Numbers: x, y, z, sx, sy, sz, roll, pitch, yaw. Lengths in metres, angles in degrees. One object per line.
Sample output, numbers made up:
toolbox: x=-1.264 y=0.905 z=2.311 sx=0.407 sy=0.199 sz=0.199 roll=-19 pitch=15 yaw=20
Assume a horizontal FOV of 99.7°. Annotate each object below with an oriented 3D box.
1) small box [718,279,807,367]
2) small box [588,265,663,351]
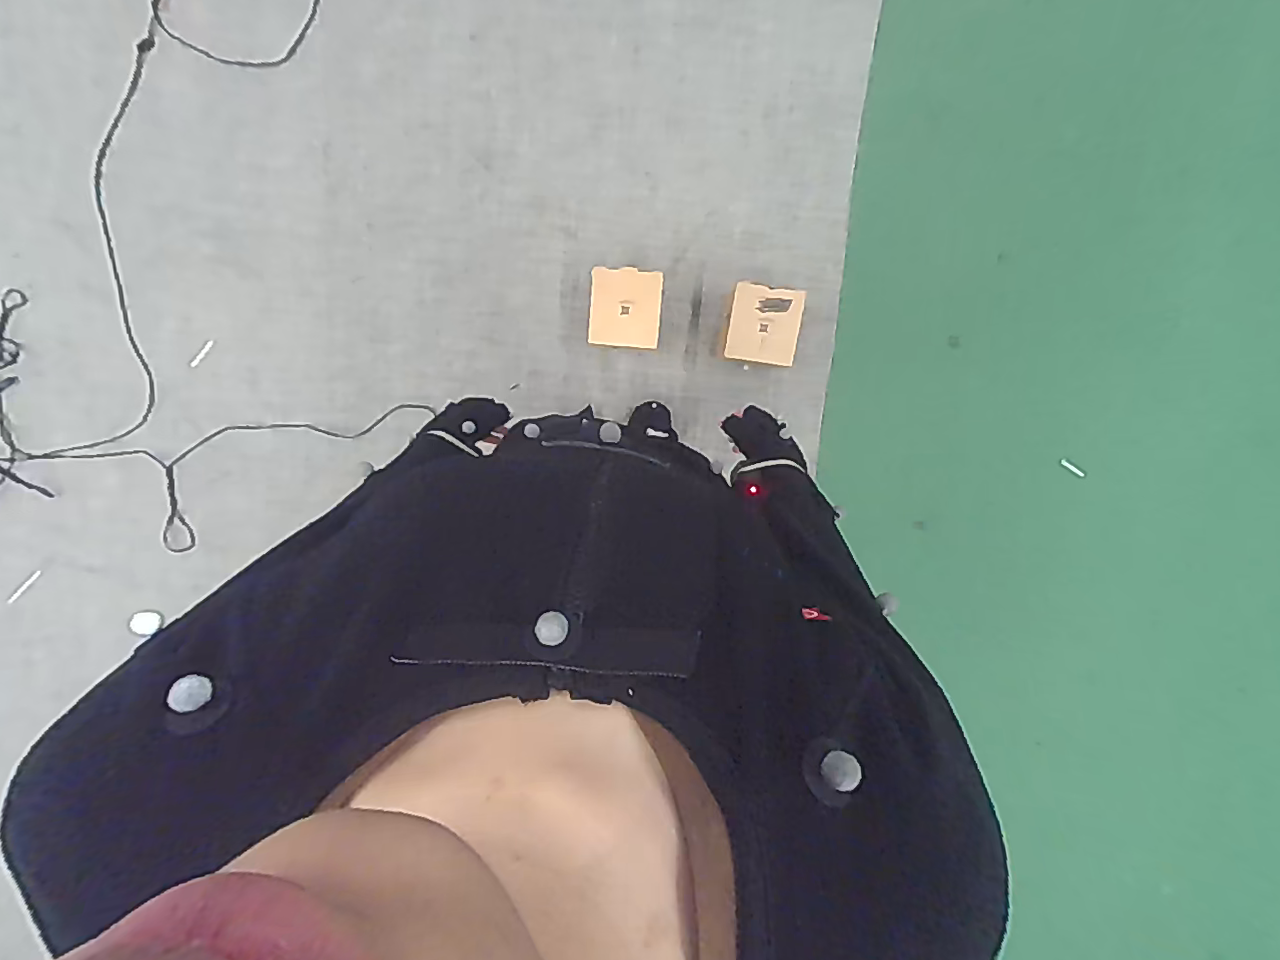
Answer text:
small box: x=0.292 y=-0.379 z=1.331 sx=0.168 sy=0.176 sz=0.179 roll=8 pitch=100 yaw=-1
small box: x=-0.032 y=-0.414 z=1.328 sx=0.168 sy=0.176 sz=0.179 roll=4 pitch=99 yaw=-1
